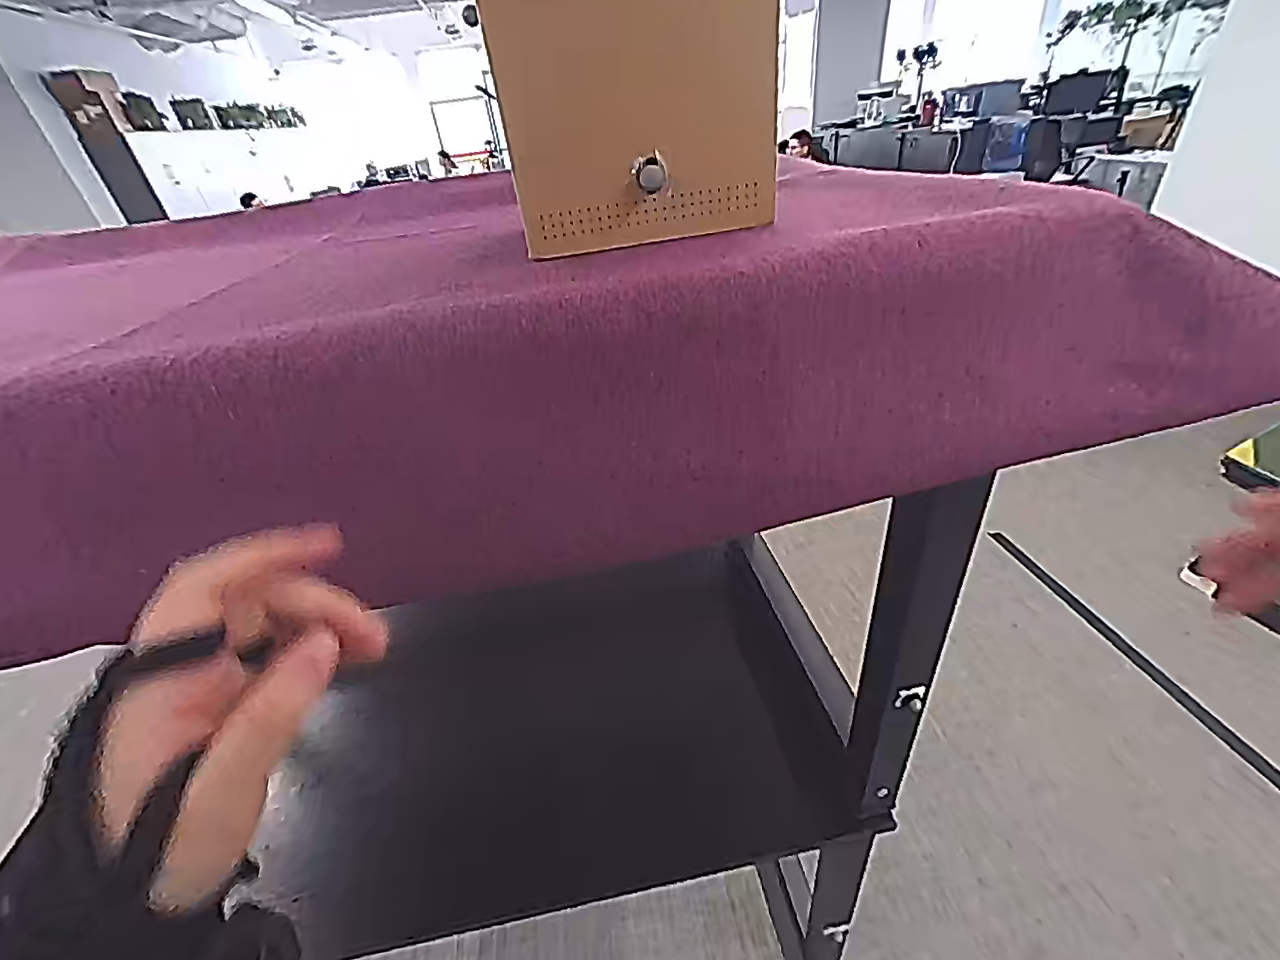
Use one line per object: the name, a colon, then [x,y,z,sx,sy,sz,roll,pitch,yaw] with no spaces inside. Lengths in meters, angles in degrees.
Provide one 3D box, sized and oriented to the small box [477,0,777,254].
small box: [-0.011,-0.276,0.393,0.179,0.176,0.168,-10,33,-4]
